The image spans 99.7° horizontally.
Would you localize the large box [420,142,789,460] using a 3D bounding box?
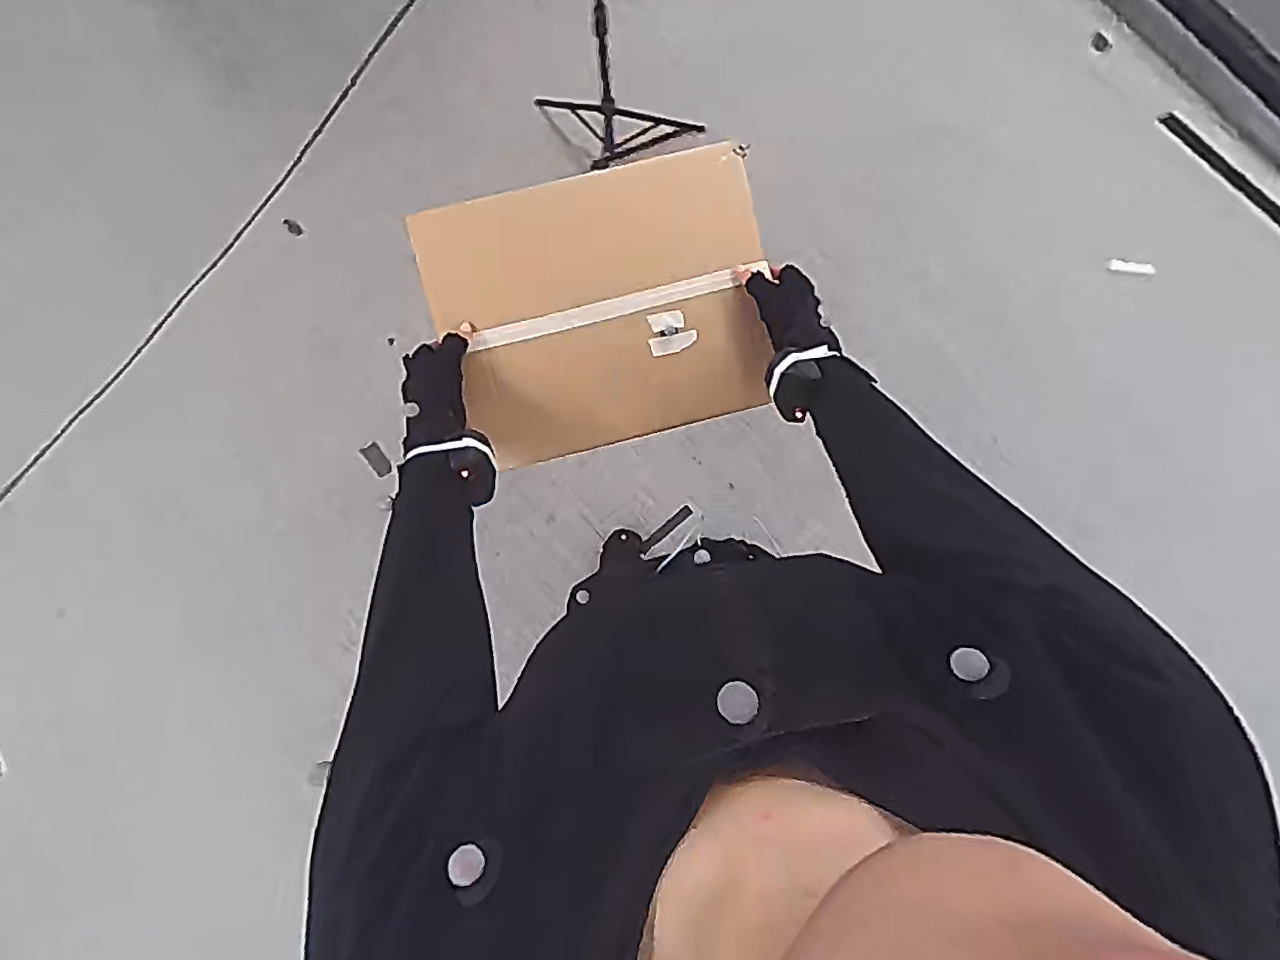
[{"bbox_3d":[-0.047,-0.228,0.807,0.408,0.320,0.320,-13,96,-3],"label":"large box"}]
